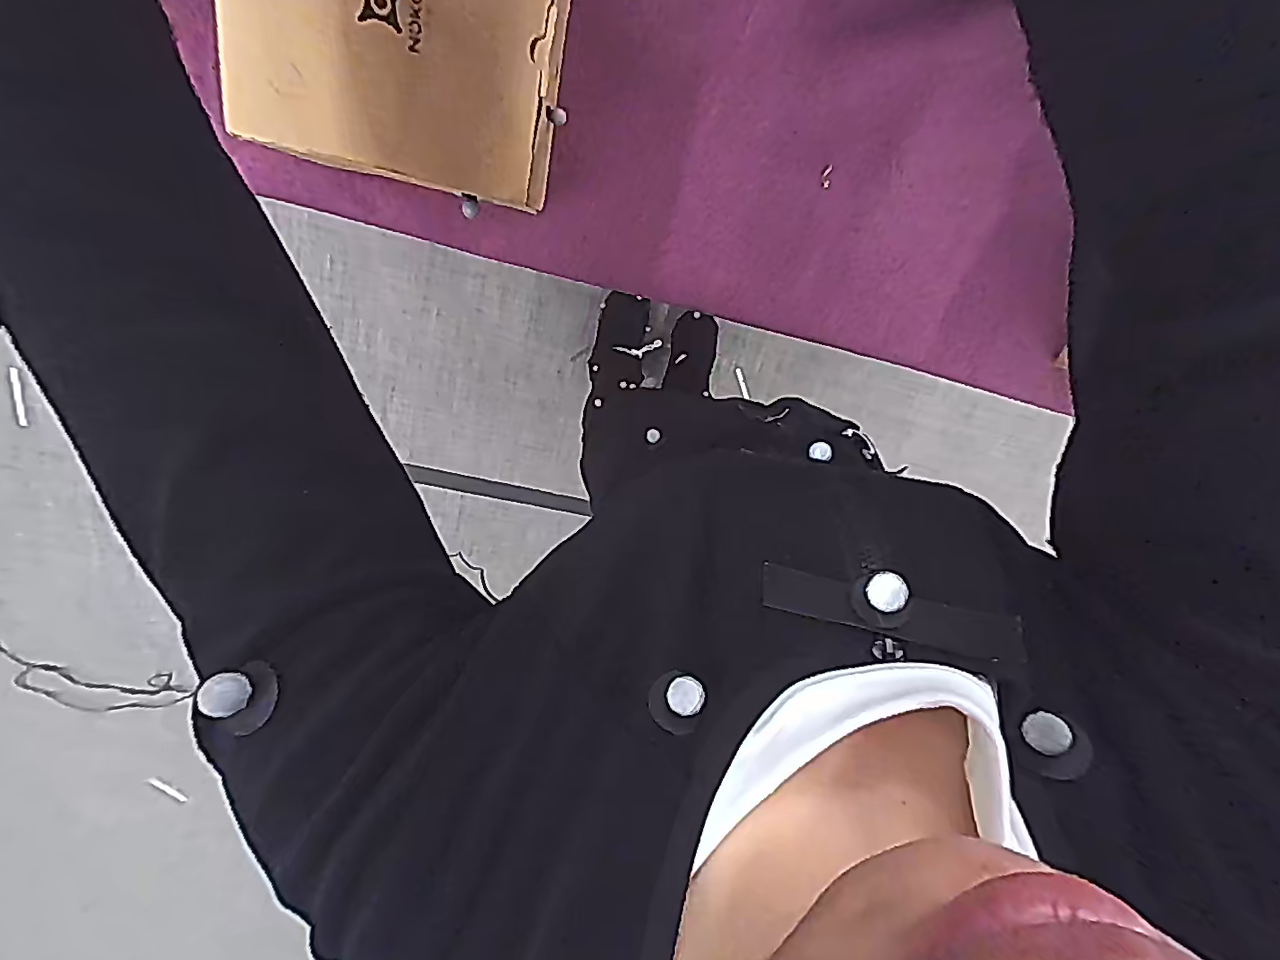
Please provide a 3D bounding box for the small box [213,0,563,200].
[{"bbox_3d":[-0.150,-0.299,0.369,0.179,0.176,0.168,7,114,-12],"label":"small box"}]
